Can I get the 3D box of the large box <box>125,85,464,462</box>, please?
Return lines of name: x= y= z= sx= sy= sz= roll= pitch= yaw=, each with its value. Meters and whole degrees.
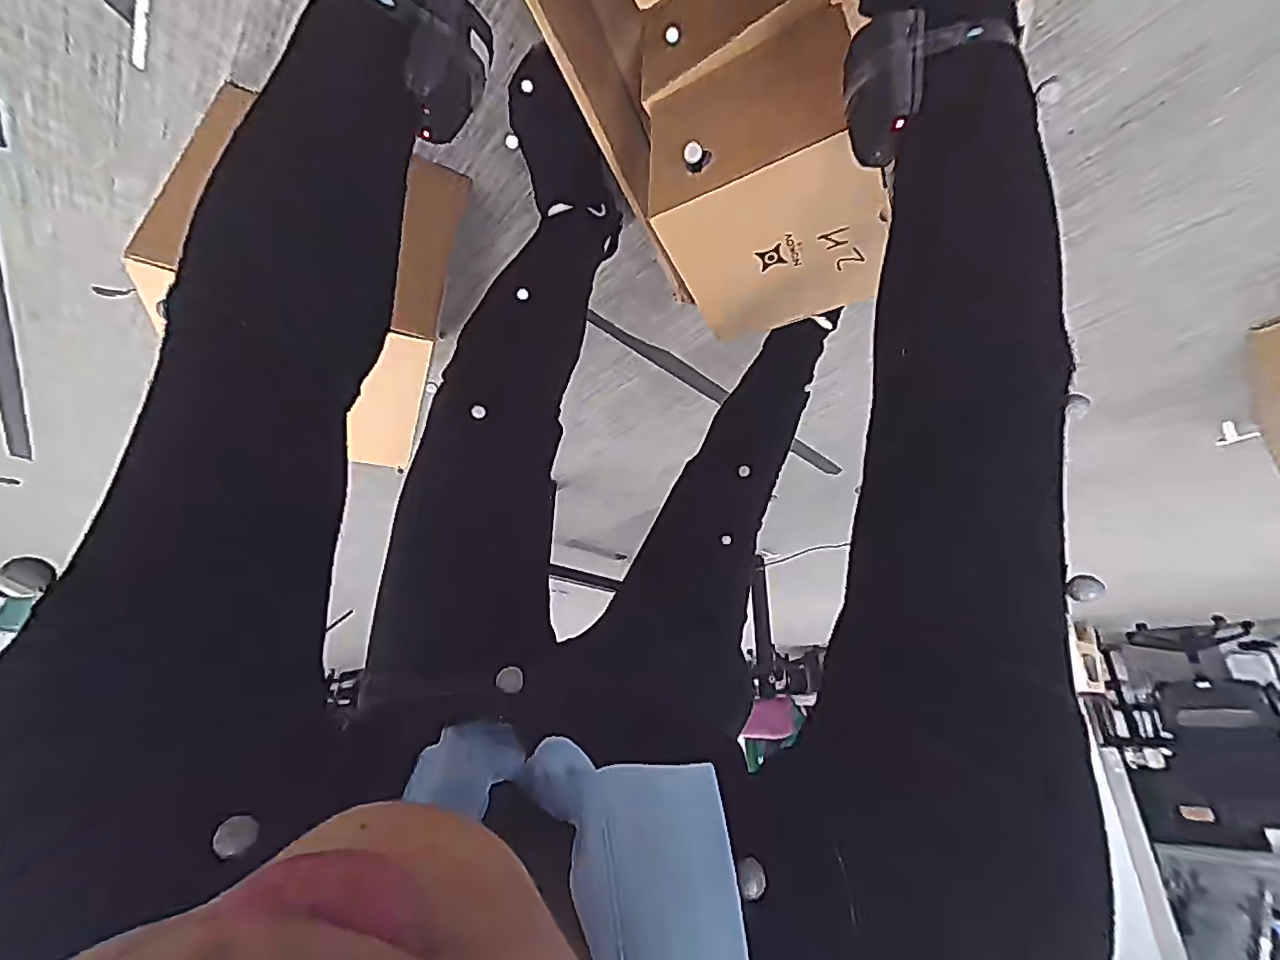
large box: x=-0.472 y=-0.269 z=0.834 sx=0.320 sy=0.320 sz=0.408 roll=13 pitch=153 yaw=-22

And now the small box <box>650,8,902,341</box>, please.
small box: x=0.123 y=-0.264 z=0.493 sx=0.179 sy=0.176 sz=0.168 roll=-13 pitch=149 yaw=25
